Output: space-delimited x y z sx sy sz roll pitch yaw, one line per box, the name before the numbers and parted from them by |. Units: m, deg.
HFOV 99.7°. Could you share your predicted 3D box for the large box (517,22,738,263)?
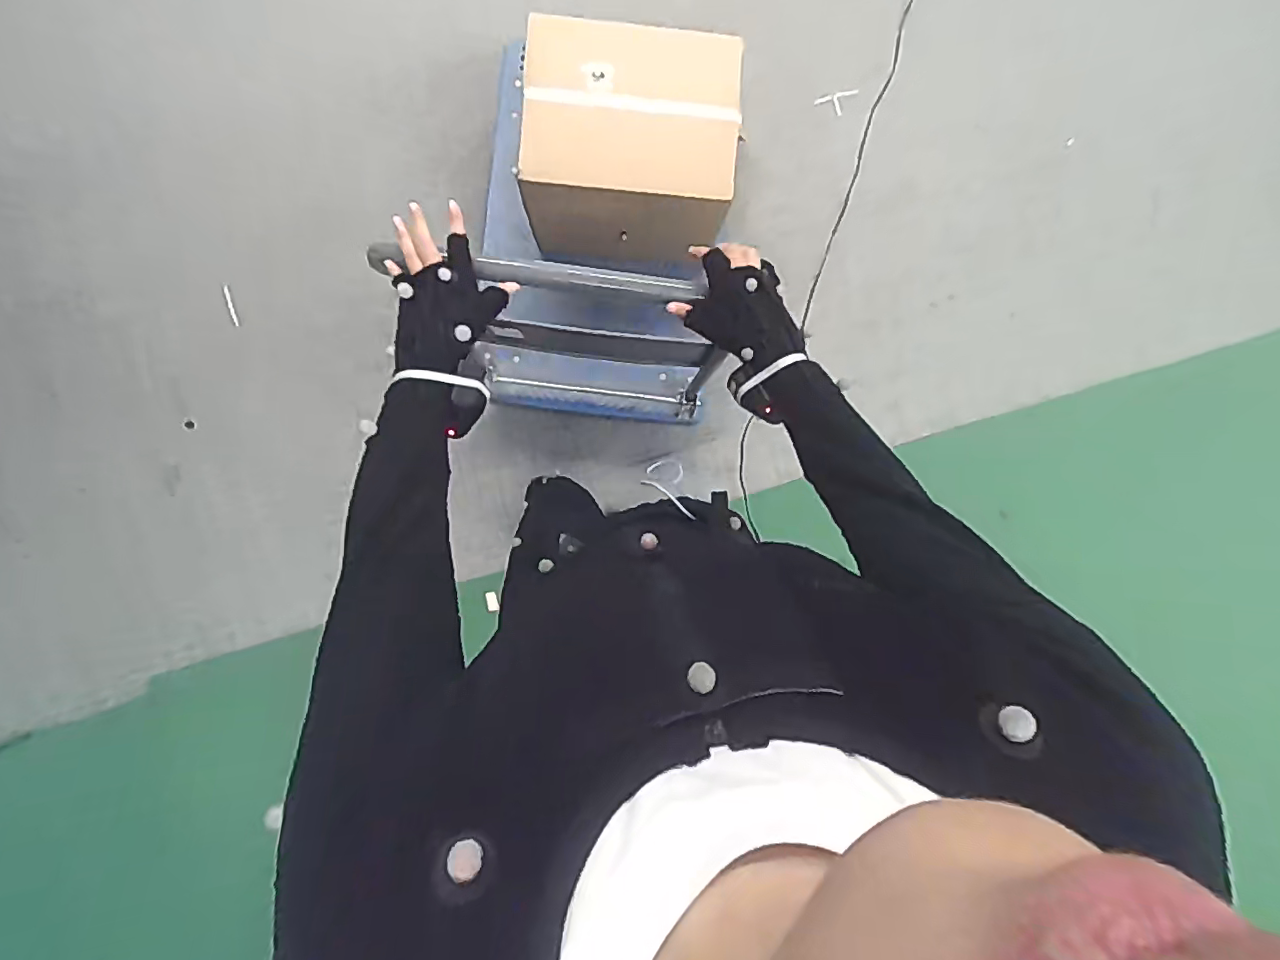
large box | -0.024 -0.687 1.157 0.408 0.320 0.320 4 88 -2
